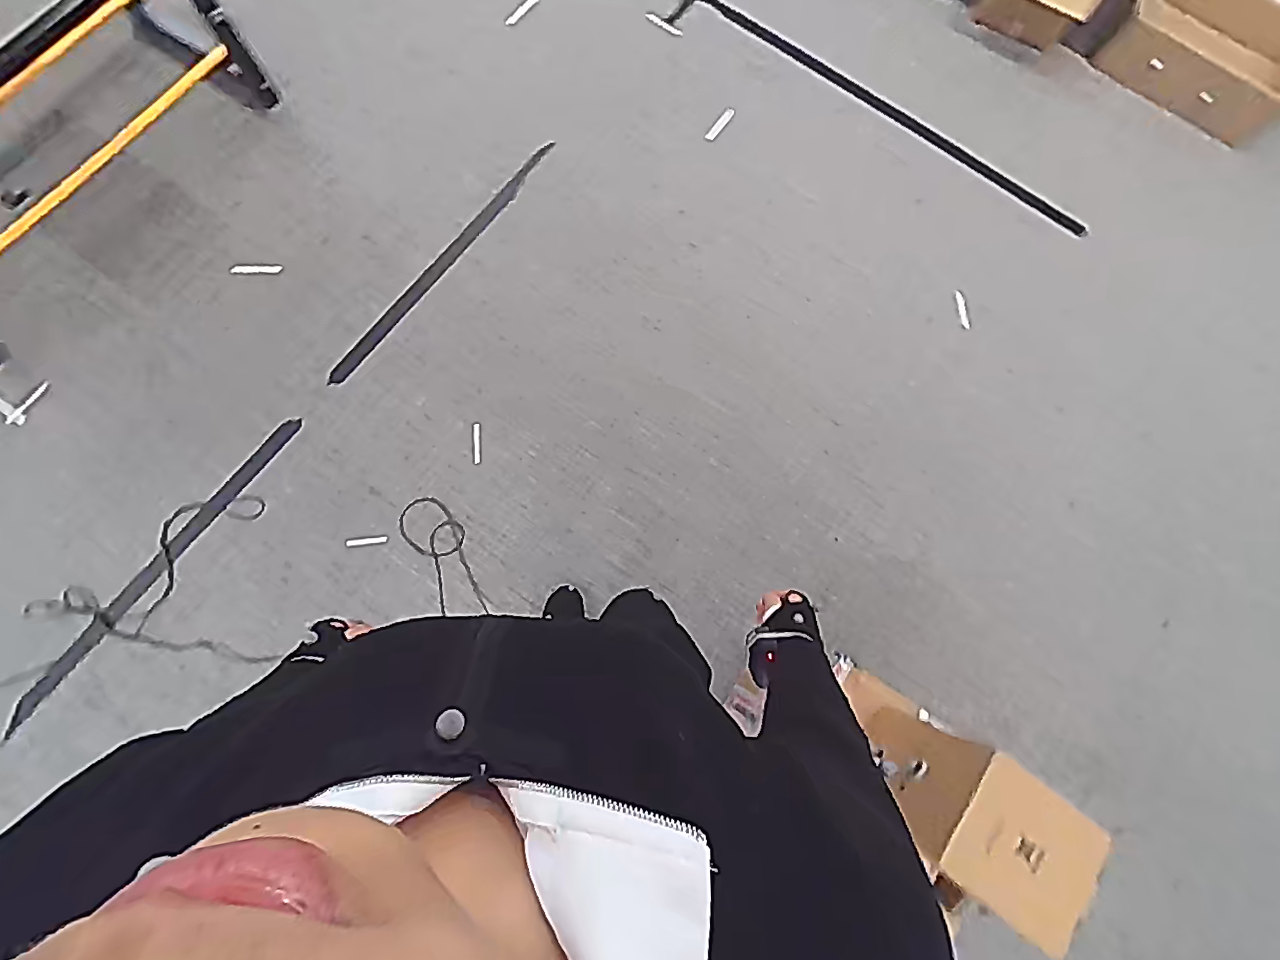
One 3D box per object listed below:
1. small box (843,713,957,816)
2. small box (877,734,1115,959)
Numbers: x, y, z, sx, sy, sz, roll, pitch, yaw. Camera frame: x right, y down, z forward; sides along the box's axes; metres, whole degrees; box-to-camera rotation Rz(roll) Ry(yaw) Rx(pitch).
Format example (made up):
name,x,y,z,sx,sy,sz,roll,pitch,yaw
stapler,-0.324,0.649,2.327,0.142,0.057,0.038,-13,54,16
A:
name,x,y,z,sx,sy,sz,roll,pitch,yaw
small box,0.473,0.513,0.899,0.179,0.176,0.168,37,77,7
small box,0.470,0.477,0.740,0.179,0.176,0.168,37,76,7
